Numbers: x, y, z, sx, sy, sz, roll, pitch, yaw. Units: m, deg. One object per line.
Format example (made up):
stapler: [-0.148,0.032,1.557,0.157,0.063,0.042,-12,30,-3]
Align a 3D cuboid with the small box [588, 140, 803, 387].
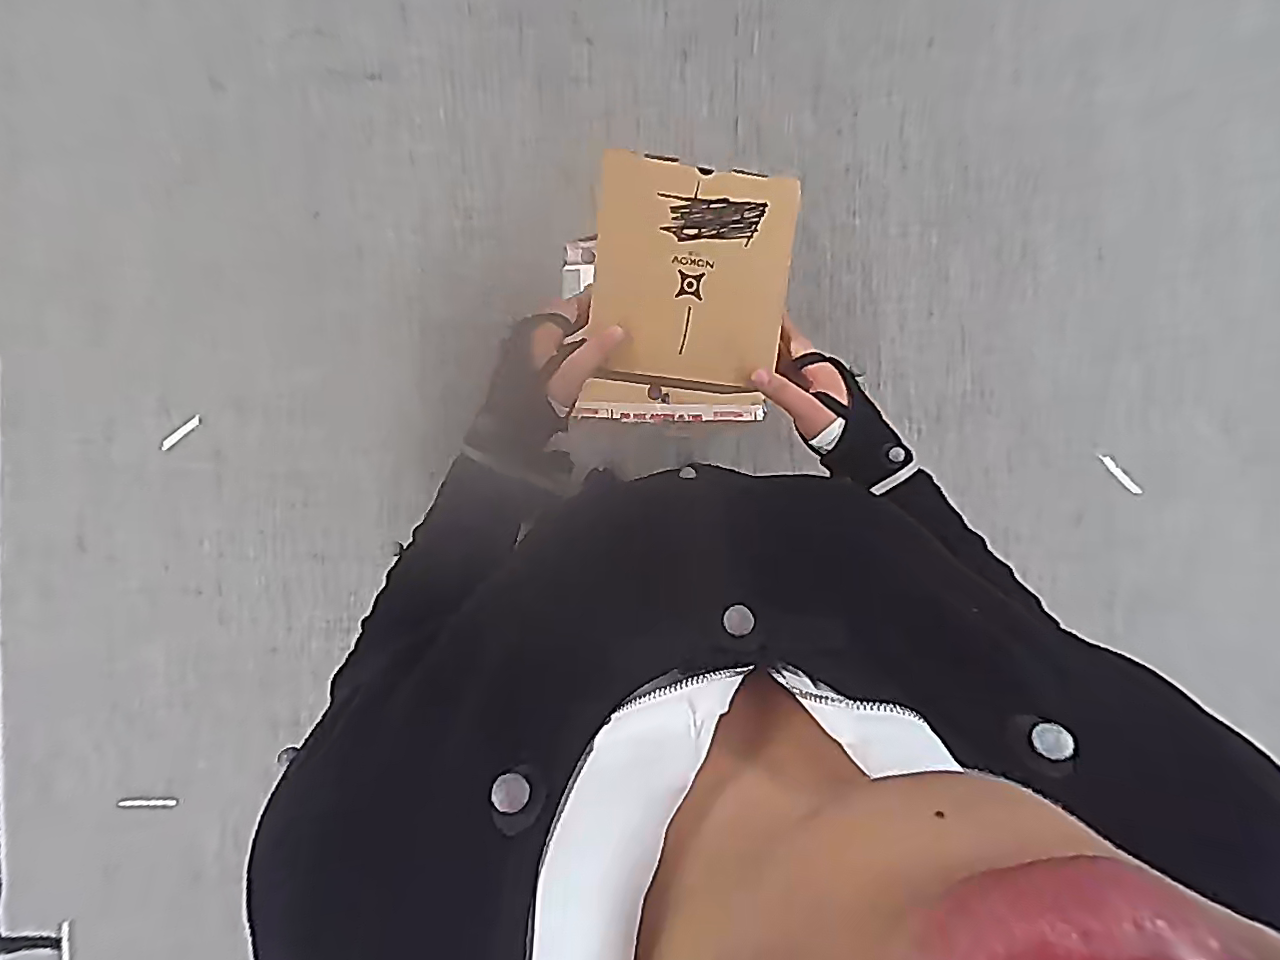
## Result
small box: [0.039,-0.191,0.531,0.168,0.176,0.179,6,98,-6]
